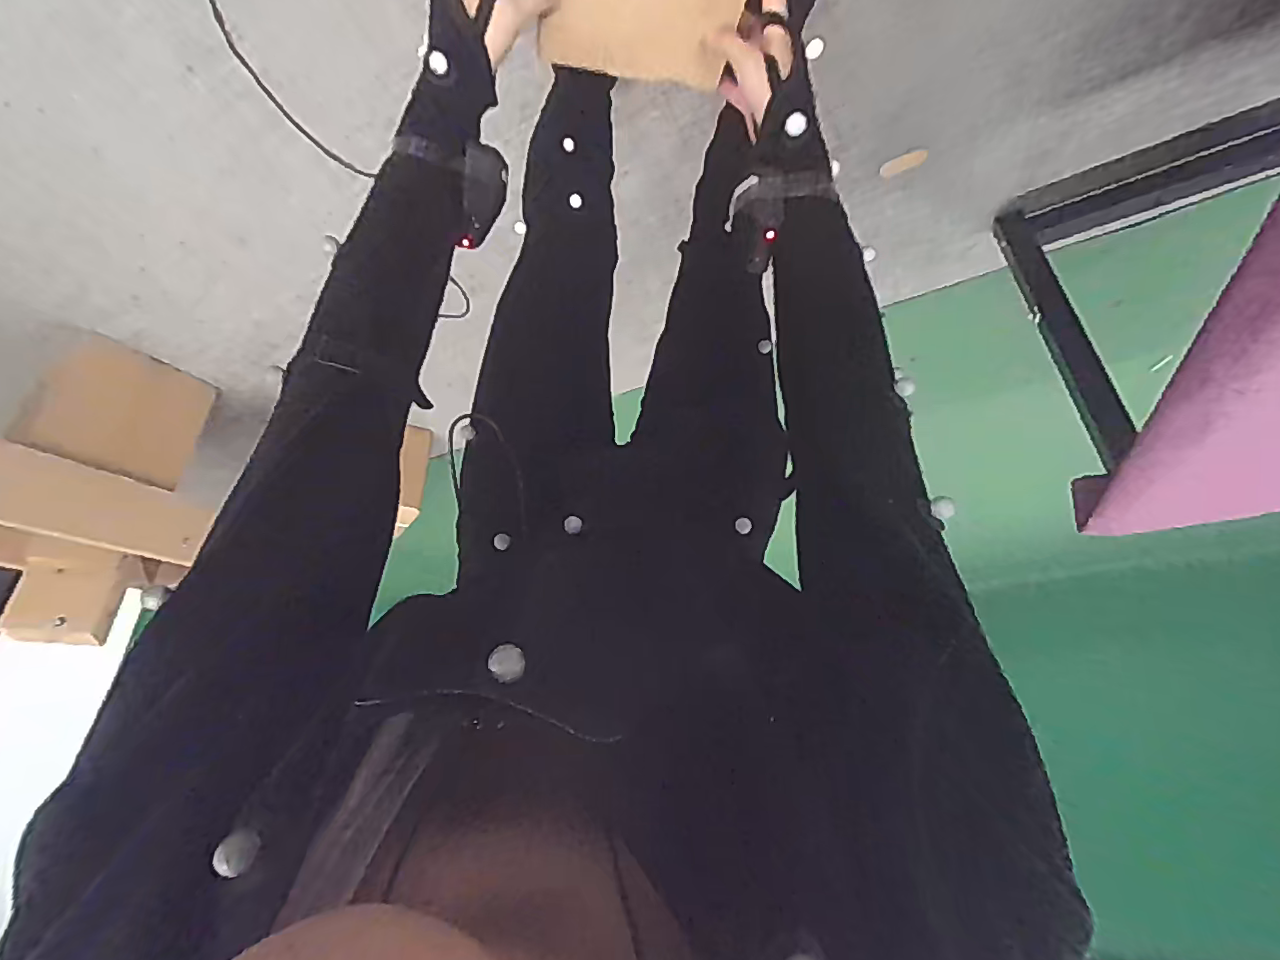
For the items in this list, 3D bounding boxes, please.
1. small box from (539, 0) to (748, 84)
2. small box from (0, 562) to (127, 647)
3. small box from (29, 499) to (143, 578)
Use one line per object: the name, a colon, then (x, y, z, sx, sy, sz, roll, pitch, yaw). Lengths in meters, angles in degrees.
small box: (0.003, -0.467, 0.427, 0.168, 0.176, 0.179, -1, 158, -14)
small box: (-1.446, 0.319, 1.370, 0.168, 0.176, 0.179, 15, 149, -29)
small box: (-1.456, 0.167, 1.432, 0.168, 0.176, 0.179, 19, 146, -34)
